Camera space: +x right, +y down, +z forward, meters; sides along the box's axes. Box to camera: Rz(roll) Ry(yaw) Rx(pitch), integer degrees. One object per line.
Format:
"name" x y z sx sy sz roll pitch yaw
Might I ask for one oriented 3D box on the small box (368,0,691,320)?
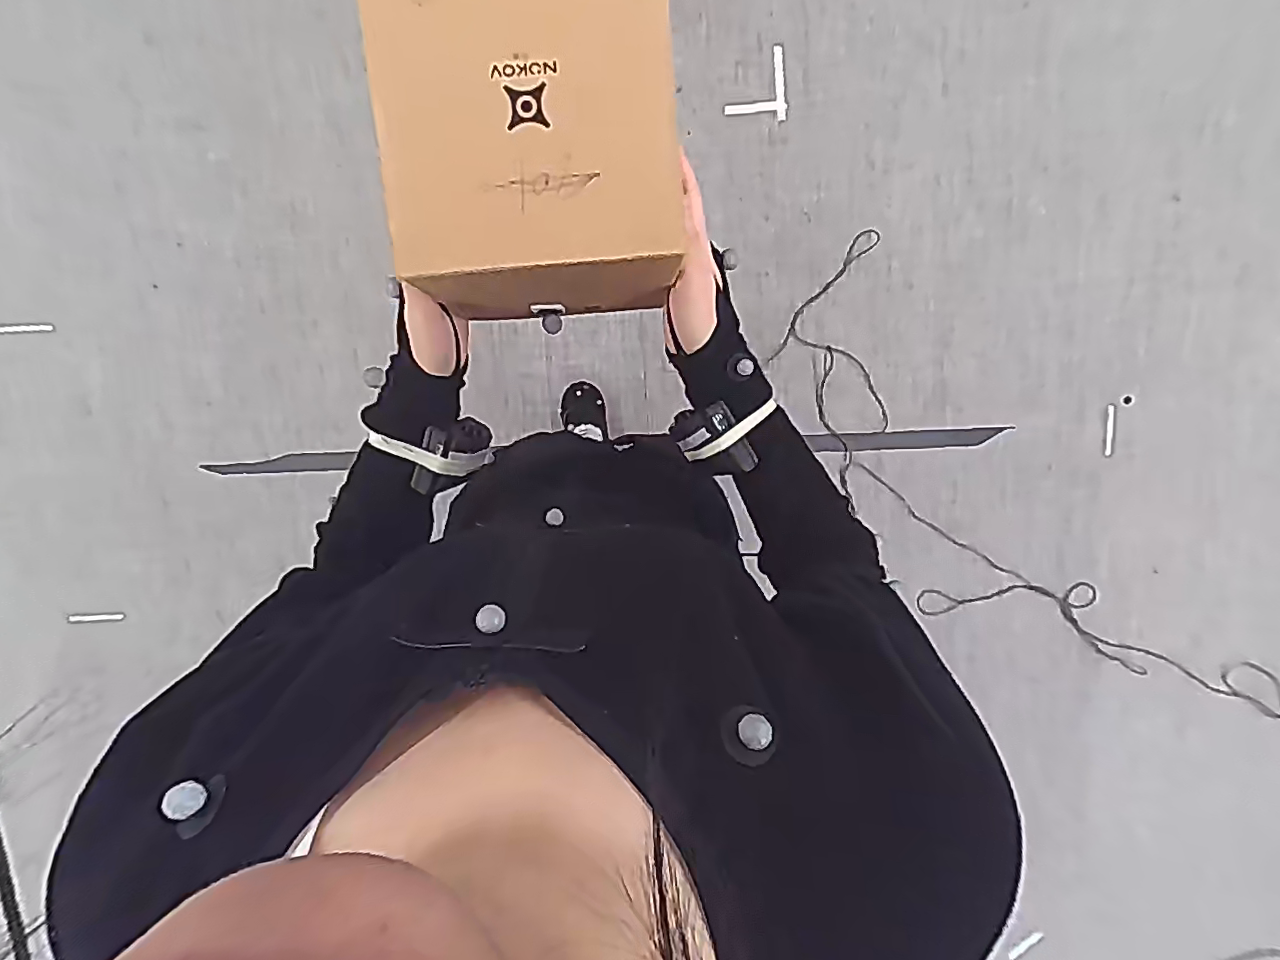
"small box" -0.062 -0.219 0.375 0.168 0.176 0.179 -6 99 -1
